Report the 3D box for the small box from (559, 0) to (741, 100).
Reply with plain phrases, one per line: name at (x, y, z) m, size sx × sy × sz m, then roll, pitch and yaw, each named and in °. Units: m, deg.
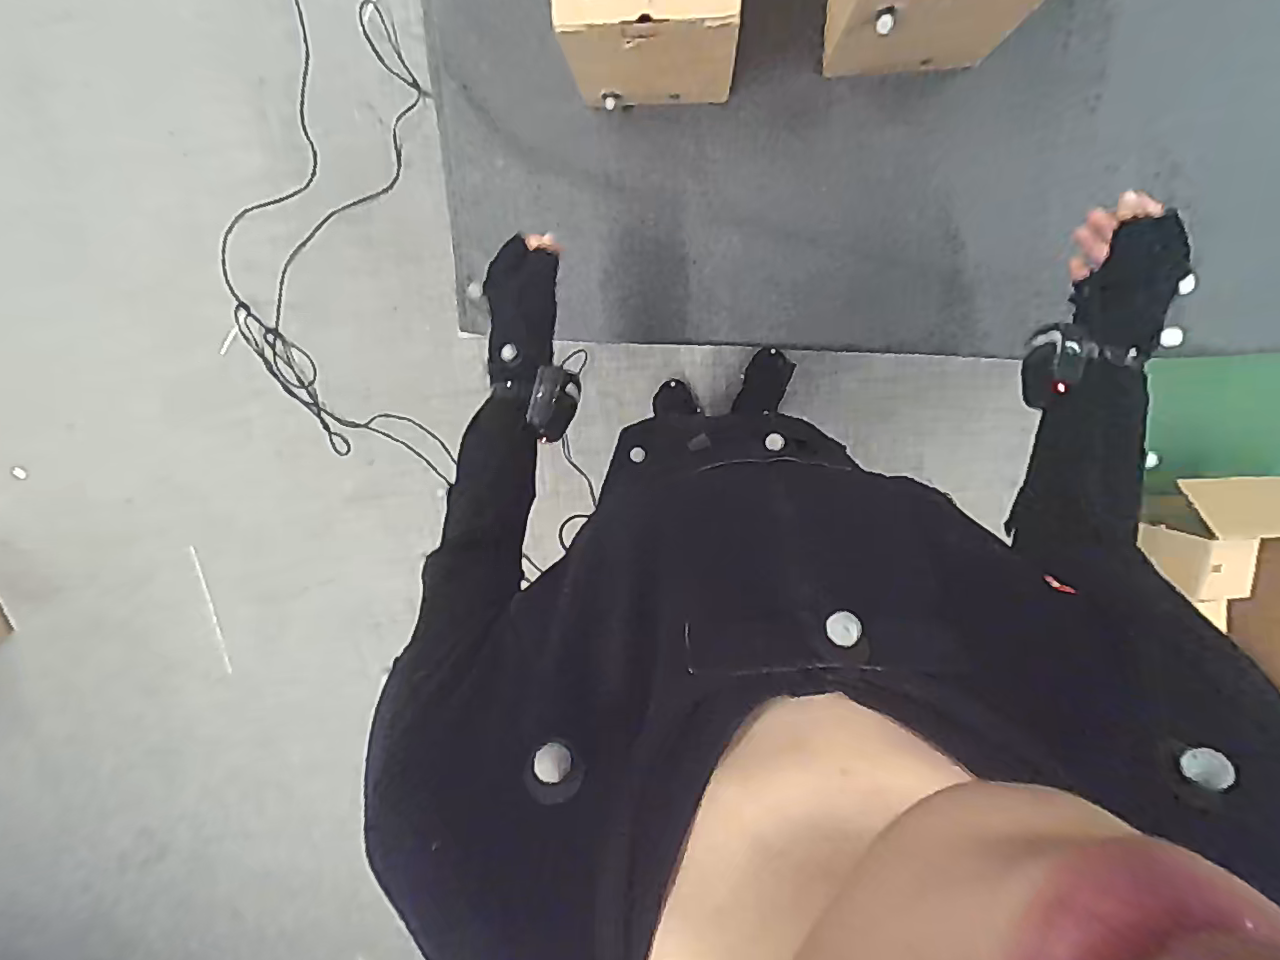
small box at (0.017, -0.502, 0.533) m, size 0.168 × 0.176 × 0.179 m, roll 1°, pitch 104°, yaw 5°
